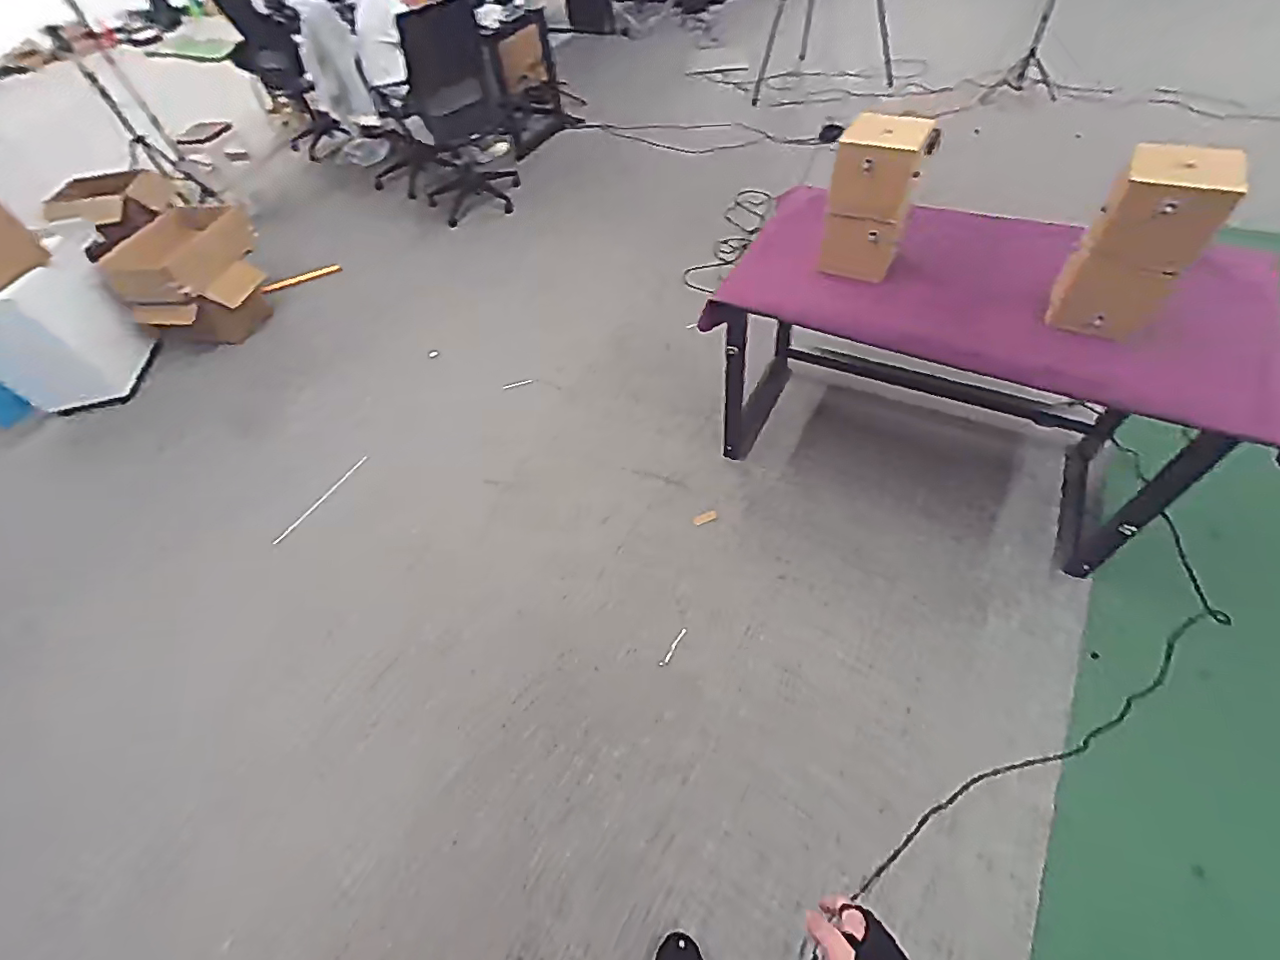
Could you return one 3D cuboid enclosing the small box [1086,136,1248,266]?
[{"bbox_3d":[1.030,-0.550,1.070,0.179,0.176,0.168,22,60,23],"label":"small box"}]

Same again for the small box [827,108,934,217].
[{"bbox_3d":[0.569,-0.758,1.297,0.179,0.176,0.168,22,60,23],"label":"small box"}]

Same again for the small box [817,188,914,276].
[{"bbox_3d":[0.589,-0.664,1.427,0.179,0.176,0.168,23,59,23],"label":"small box"}]

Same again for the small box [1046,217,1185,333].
[{"bbox_3d":[1.049,-0.451,1.200,0.179,0.176,0.168,21,59,22],"label":"small box"}]
